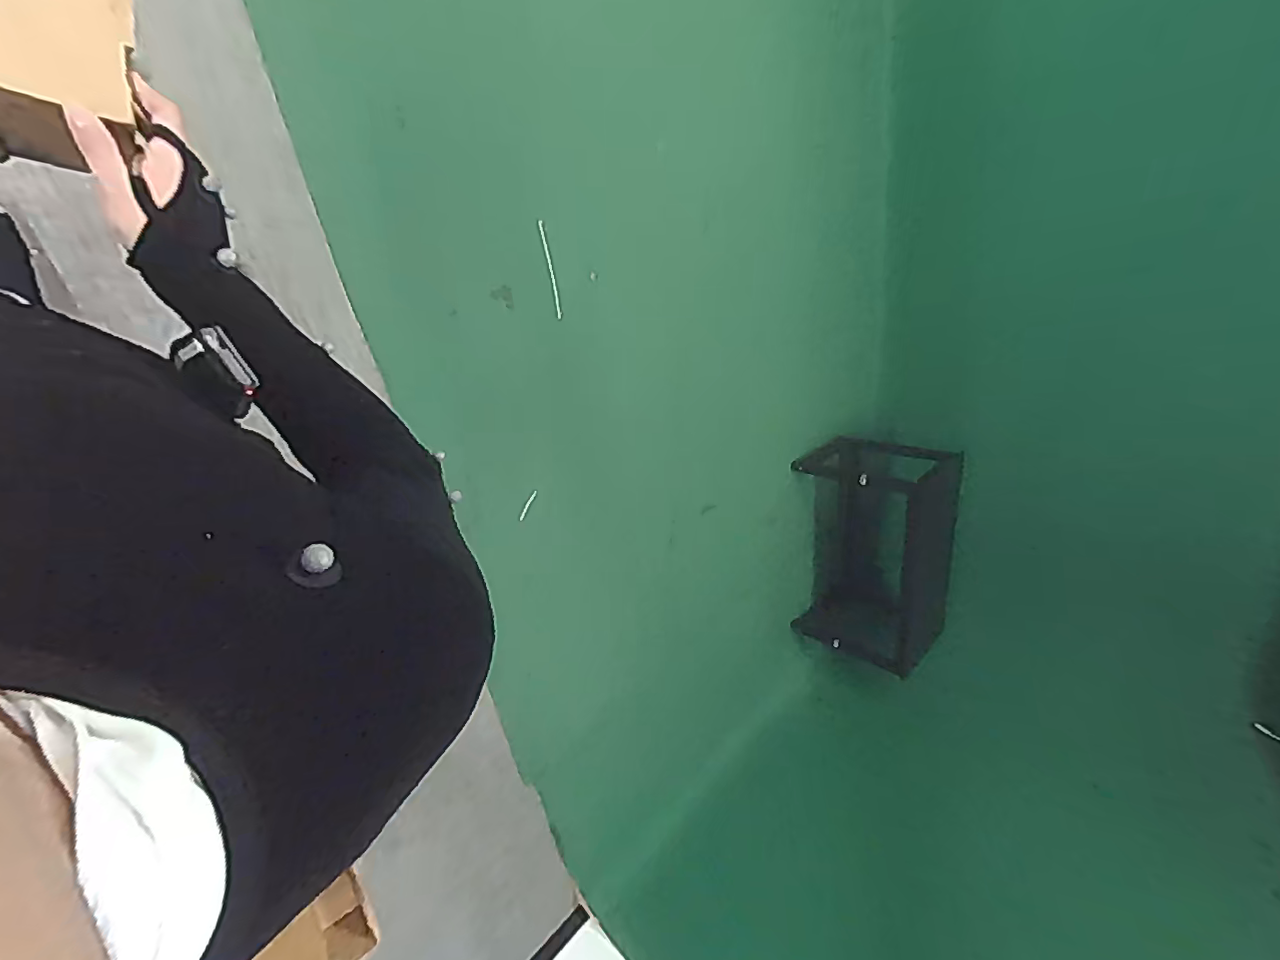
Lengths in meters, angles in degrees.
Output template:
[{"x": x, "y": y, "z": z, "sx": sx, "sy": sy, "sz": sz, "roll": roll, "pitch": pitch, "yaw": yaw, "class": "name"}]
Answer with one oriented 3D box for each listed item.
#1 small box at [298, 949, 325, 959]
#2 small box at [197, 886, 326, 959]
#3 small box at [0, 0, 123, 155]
[{"x": -0.602, "y": 0.973, "z": 0.915, "sx": 0.179, "sy": 0.176, "sz": 0.168, "roll": -21, "pitch": 116, "yaw": -38, "class": "small box"}, {"x": -0.712, "y": 0.941, "z": 1.032, "sx": 0.179, "sy": 0.176, "sz": 0.168, "roll": -18, "pitch": 115, "yaw": -38, "class": "small box"}, {"x": -0.526, "y": -0.381, "z": 0.417, "sx": 0.179, "sy": 0.176, "sz": 0.168, "roll": -3, "pitch": 99, "yaw": -43, "class": "small box"}]
